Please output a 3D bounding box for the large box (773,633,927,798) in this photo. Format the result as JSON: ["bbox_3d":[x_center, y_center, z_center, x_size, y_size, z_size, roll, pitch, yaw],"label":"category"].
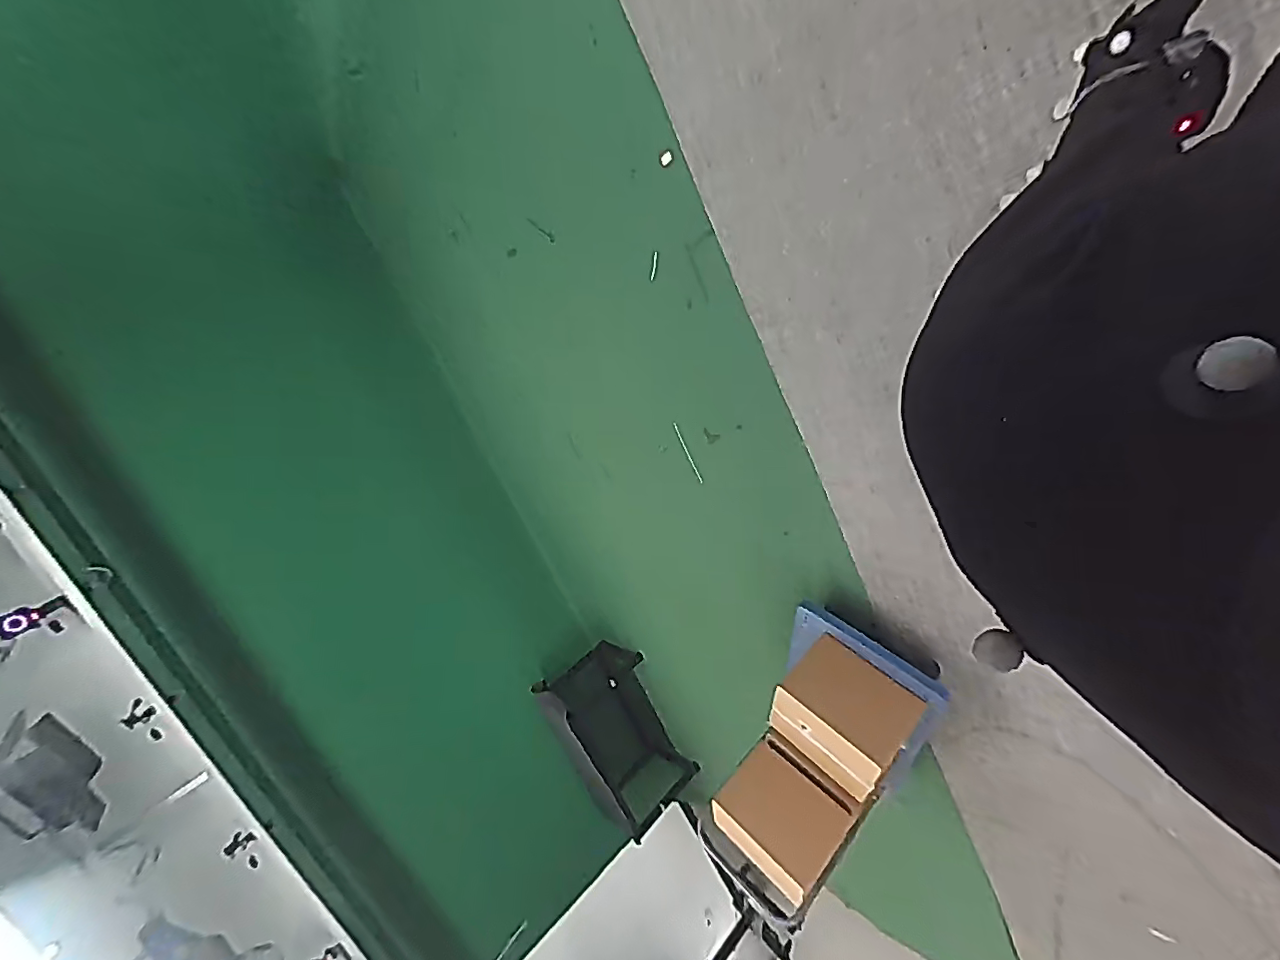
[{"bbox_3d":[0.756,0.851,1.985,0.408,0.320,0.320,34,145,34],"label":"large box"}]
